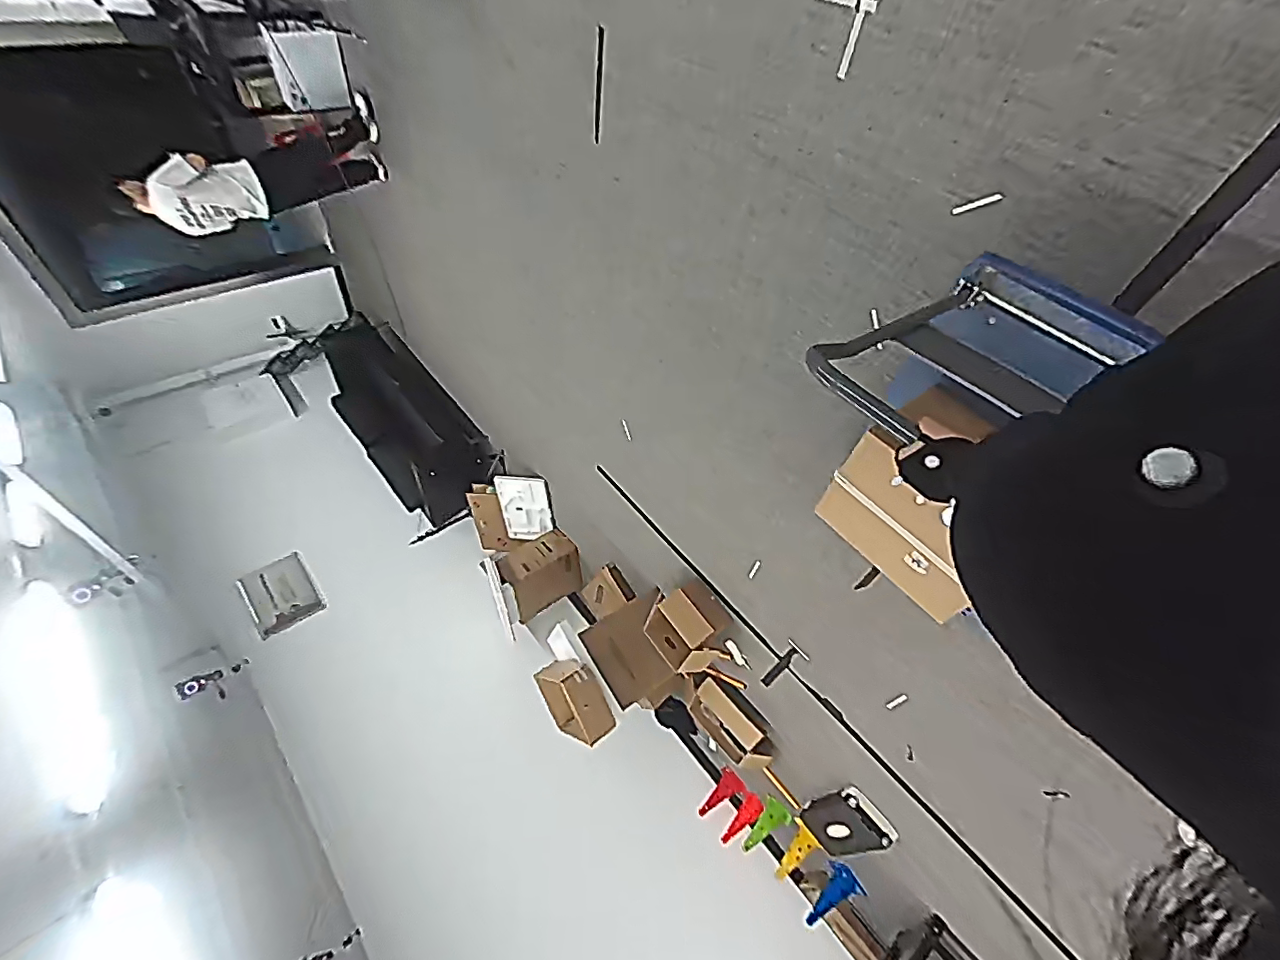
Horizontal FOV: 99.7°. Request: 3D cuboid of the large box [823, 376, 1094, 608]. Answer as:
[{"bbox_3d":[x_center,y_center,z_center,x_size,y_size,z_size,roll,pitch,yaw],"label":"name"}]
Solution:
[{"bbox_3d":[0.741,0.017,1.304,0.408,0.320,0.320,45,148,24],"label":"large box"}]
